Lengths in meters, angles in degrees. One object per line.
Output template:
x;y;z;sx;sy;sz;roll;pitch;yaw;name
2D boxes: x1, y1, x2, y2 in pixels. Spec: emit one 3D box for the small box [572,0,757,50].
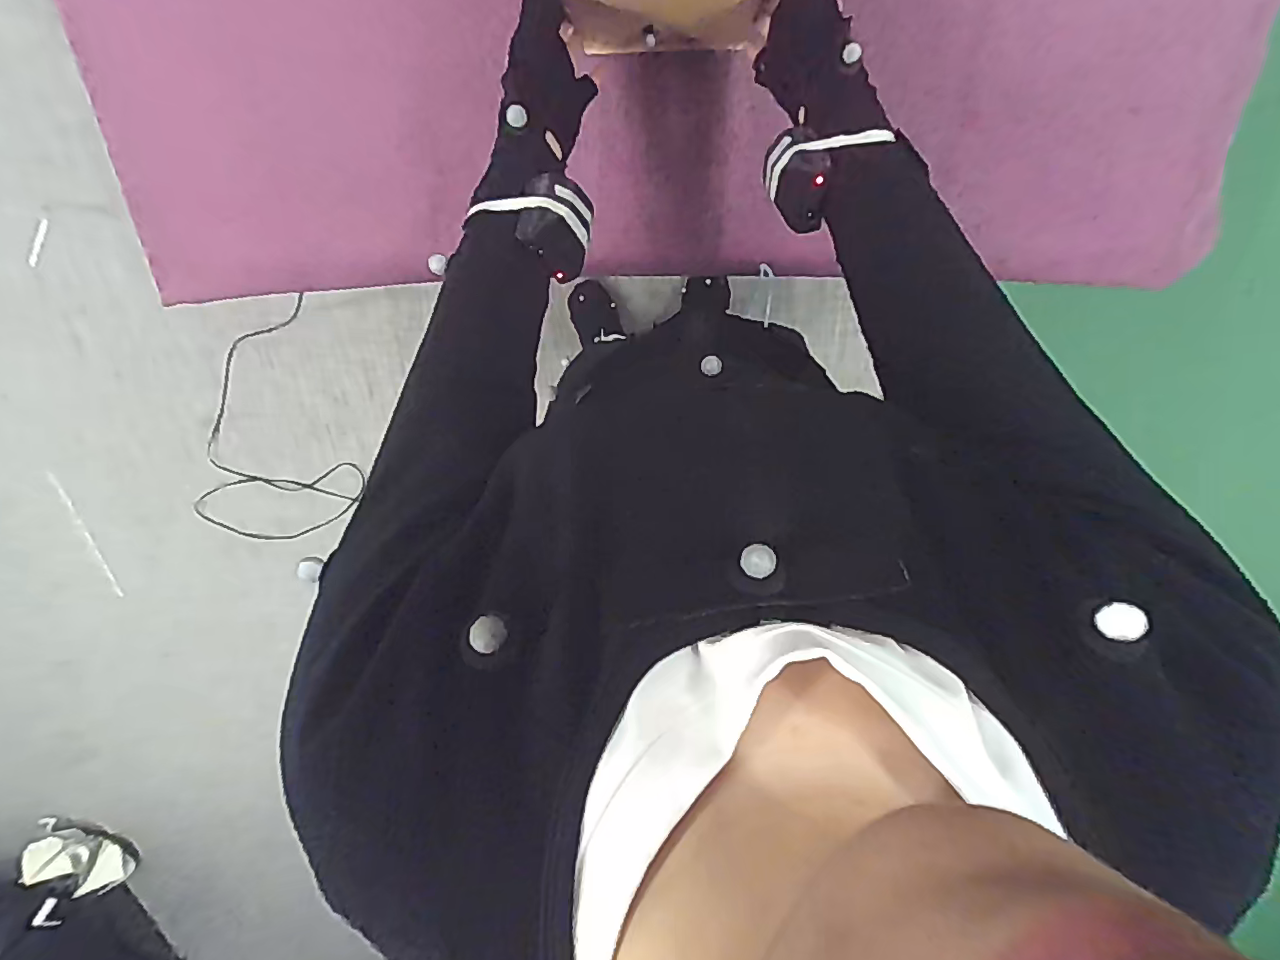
0.017;-0.492;0.448;0.168;0.176;0.179;0;115;4;small box
